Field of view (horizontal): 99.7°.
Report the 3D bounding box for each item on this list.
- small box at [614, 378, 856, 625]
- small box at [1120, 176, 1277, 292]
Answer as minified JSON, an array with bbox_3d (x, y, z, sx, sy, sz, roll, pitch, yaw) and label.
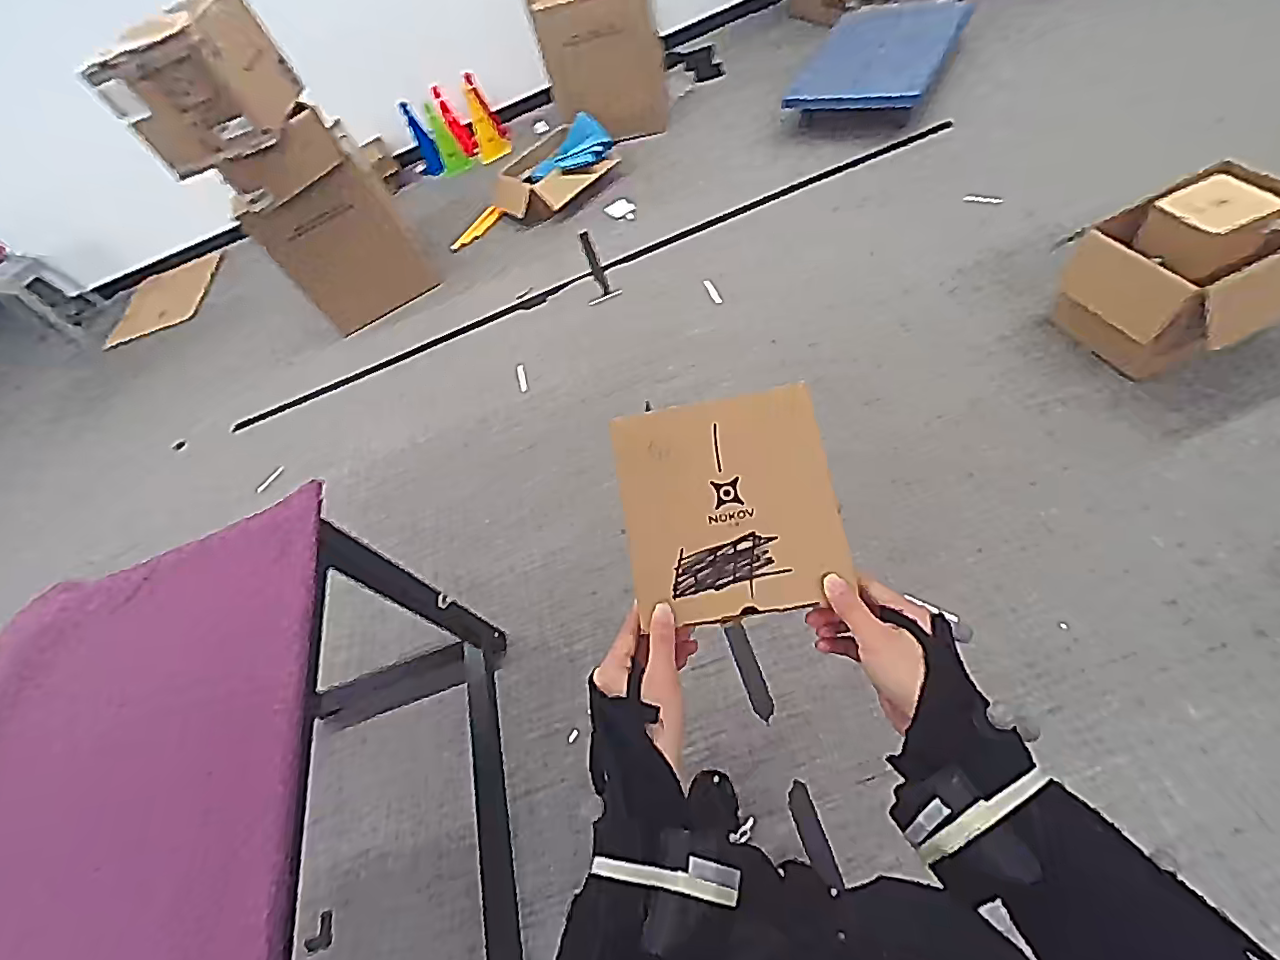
[{"bbox_3d":[0.079,0.029,0.502,0.168,0.176,0.179,-10,77,4],"label":"small box"},{"bbox_3d":[1.350,-0.599,1.326,0.179,0.176,0.168,-24,53,2],"label":"small box"}]
